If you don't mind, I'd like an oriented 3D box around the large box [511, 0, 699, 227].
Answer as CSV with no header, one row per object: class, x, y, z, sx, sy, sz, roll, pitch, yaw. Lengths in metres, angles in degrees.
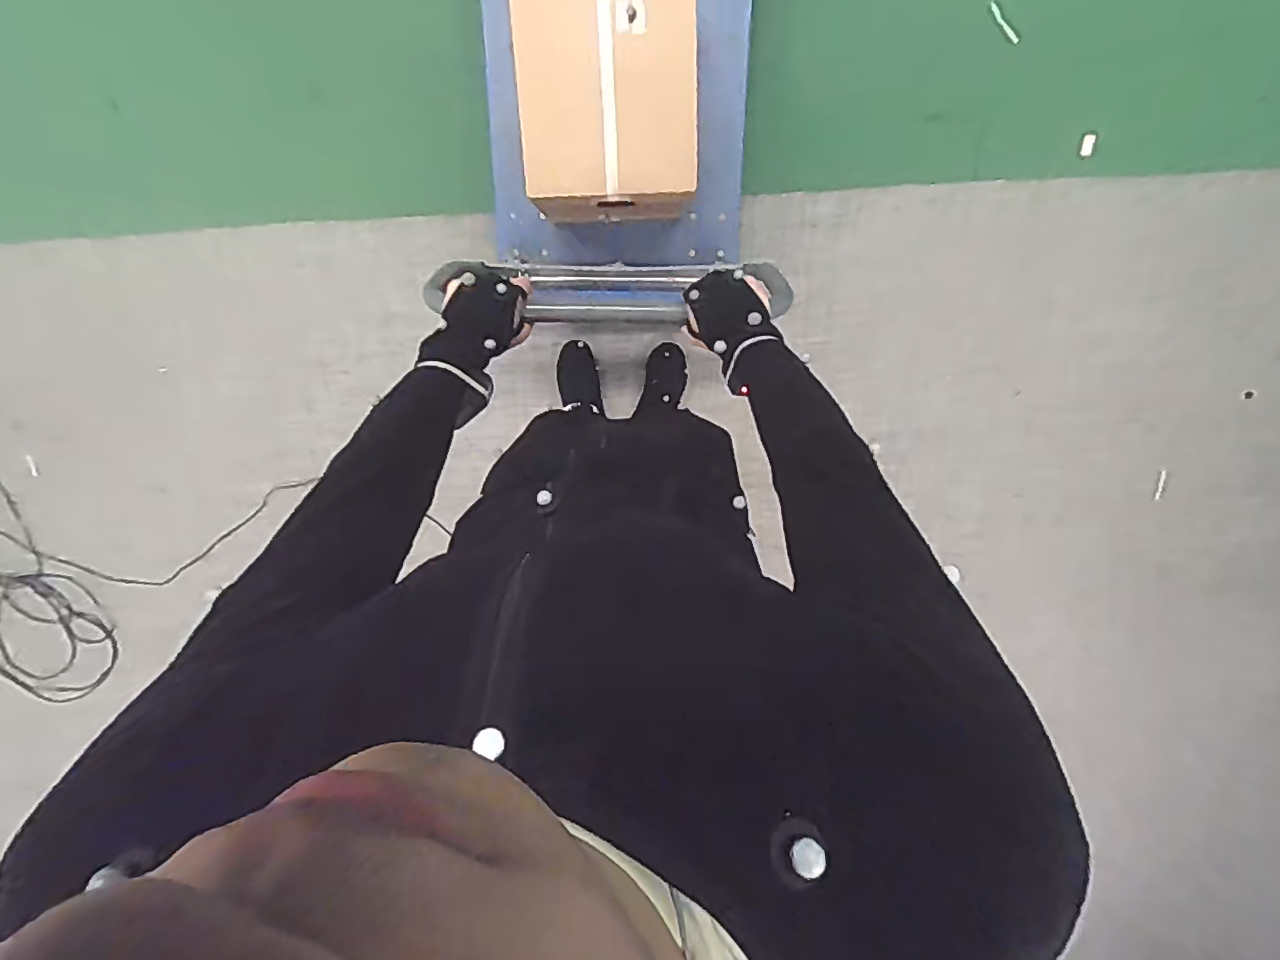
large box,-0.055,-0.750,1.076,0.320,0.320,0.408,-2,108,1
